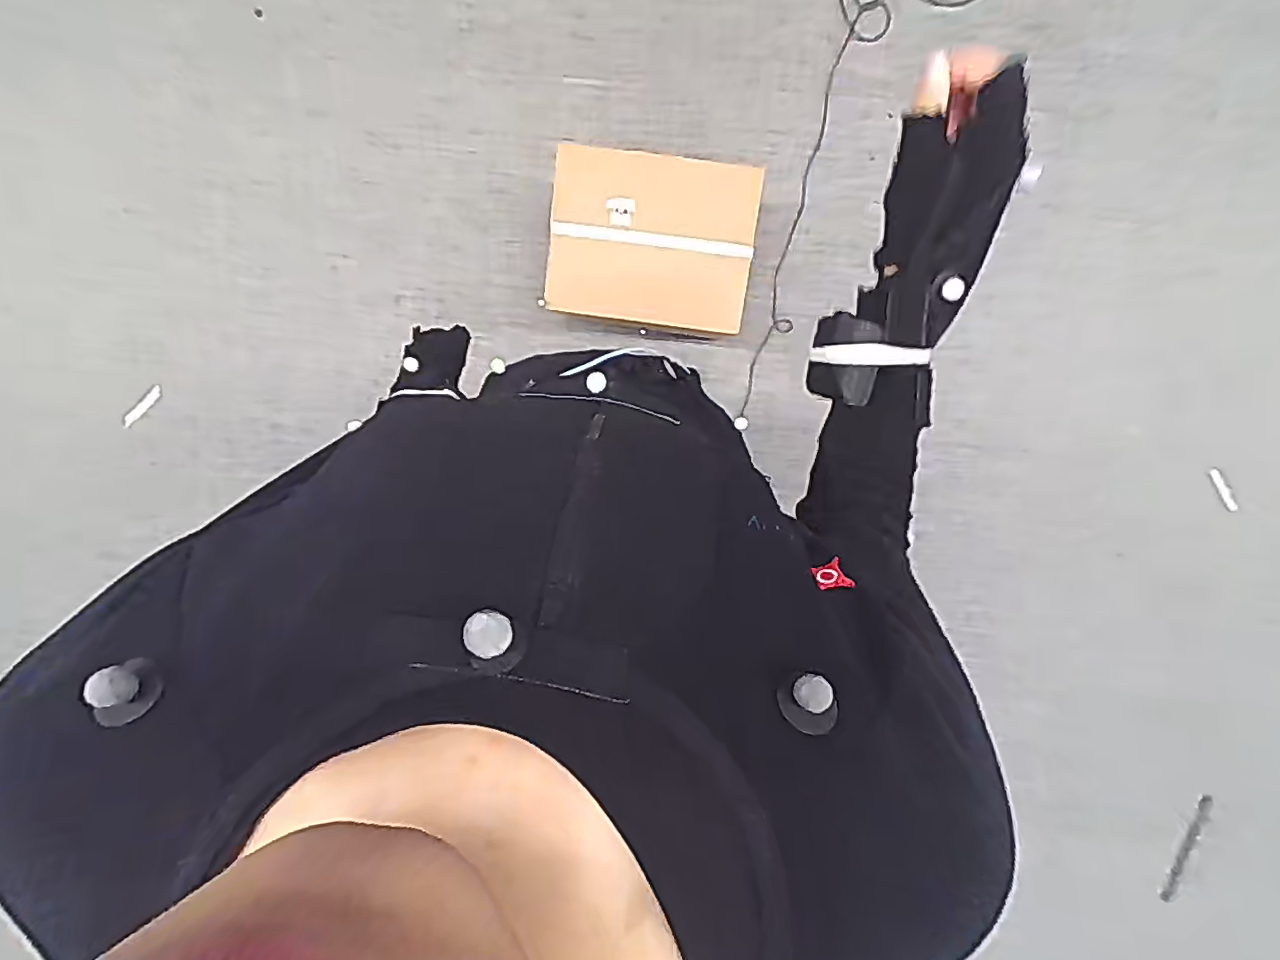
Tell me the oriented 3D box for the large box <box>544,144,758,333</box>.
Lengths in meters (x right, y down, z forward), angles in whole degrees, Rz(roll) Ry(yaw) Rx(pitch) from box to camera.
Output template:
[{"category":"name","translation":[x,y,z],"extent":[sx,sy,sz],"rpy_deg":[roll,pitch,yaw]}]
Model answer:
[{"category":"large box","translation":[0.024,-0.514,1.222],"extent":[0.408,0.320,0.320],"rpy_deg":[8,102,1]}]
